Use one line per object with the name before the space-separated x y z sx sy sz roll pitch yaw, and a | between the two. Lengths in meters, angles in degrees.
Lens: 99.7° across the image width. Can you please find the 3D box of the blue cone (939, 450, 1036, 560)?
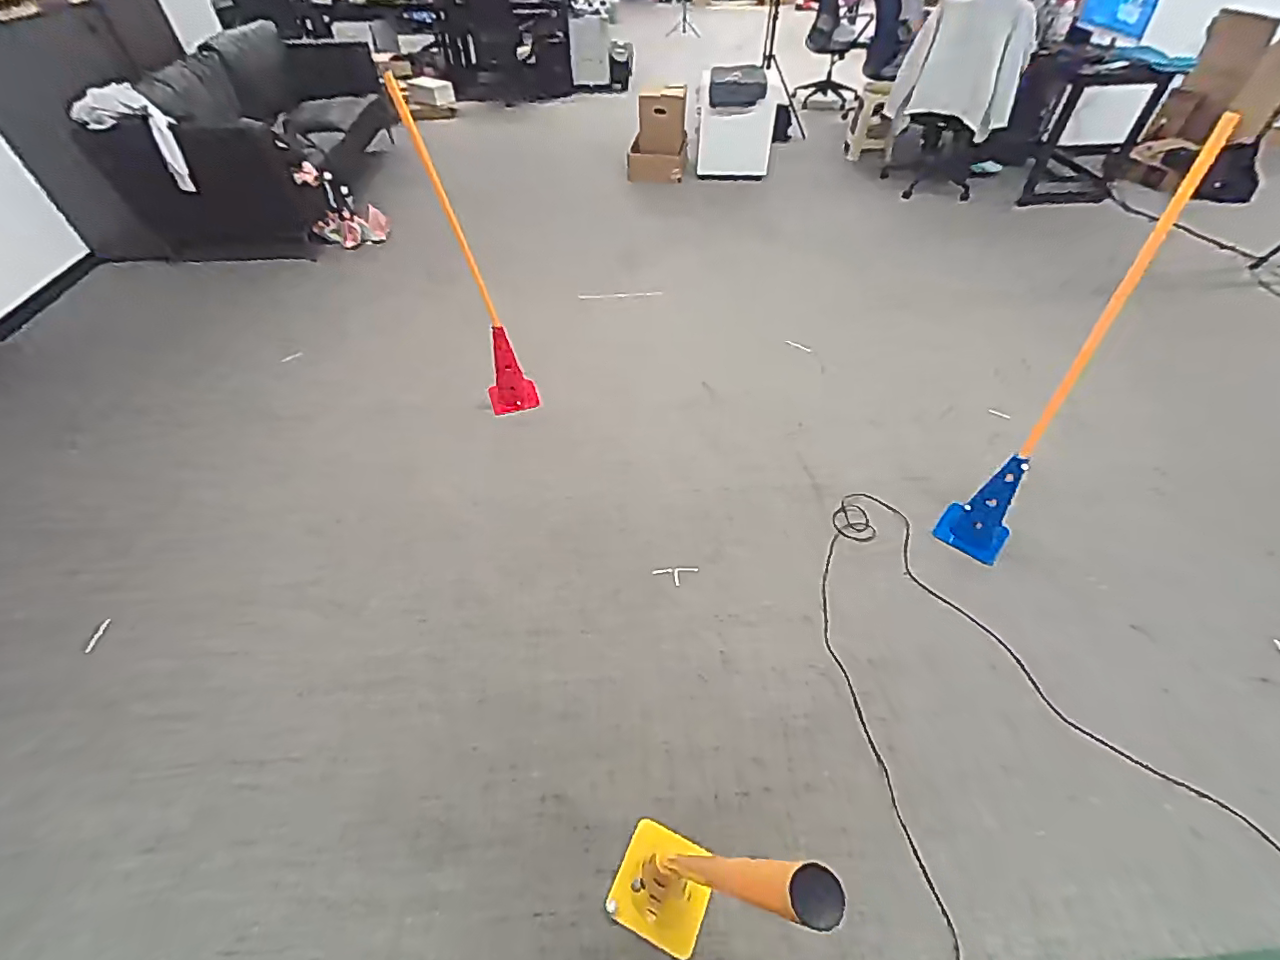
blue cone | 1.122 0.053 1.704 0.192 0.380 0.193 32 53 27
